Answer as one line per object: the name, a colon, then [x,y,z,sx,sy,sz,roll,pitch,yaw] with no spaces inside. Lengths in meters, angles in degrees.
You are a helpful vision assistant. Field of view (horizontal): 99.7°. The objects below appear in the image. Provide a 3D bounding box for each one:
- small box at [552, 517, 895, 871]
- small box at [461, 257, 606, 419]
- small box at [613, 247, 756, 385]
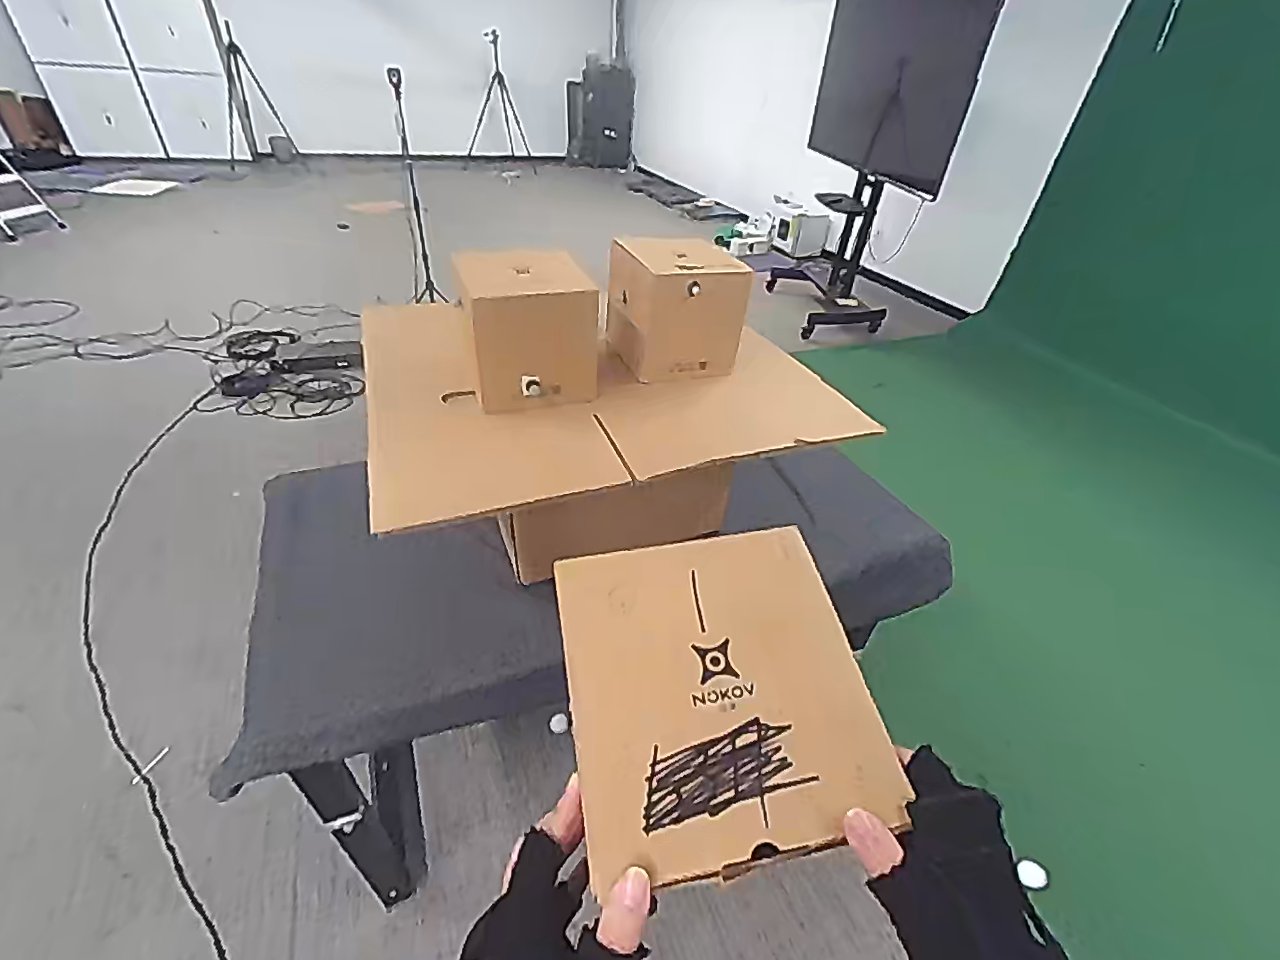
small box: [0.034,0.151,0.377,0.168,0.176,0.179,-7,53,-9]
small box: [-0.157,-0.210,0.787,0.168,0.176,0.179,-12,43,-19]
small box: [0.060,-0.269,0.877,0.168,0.176,0.179,-10,39,-19]
